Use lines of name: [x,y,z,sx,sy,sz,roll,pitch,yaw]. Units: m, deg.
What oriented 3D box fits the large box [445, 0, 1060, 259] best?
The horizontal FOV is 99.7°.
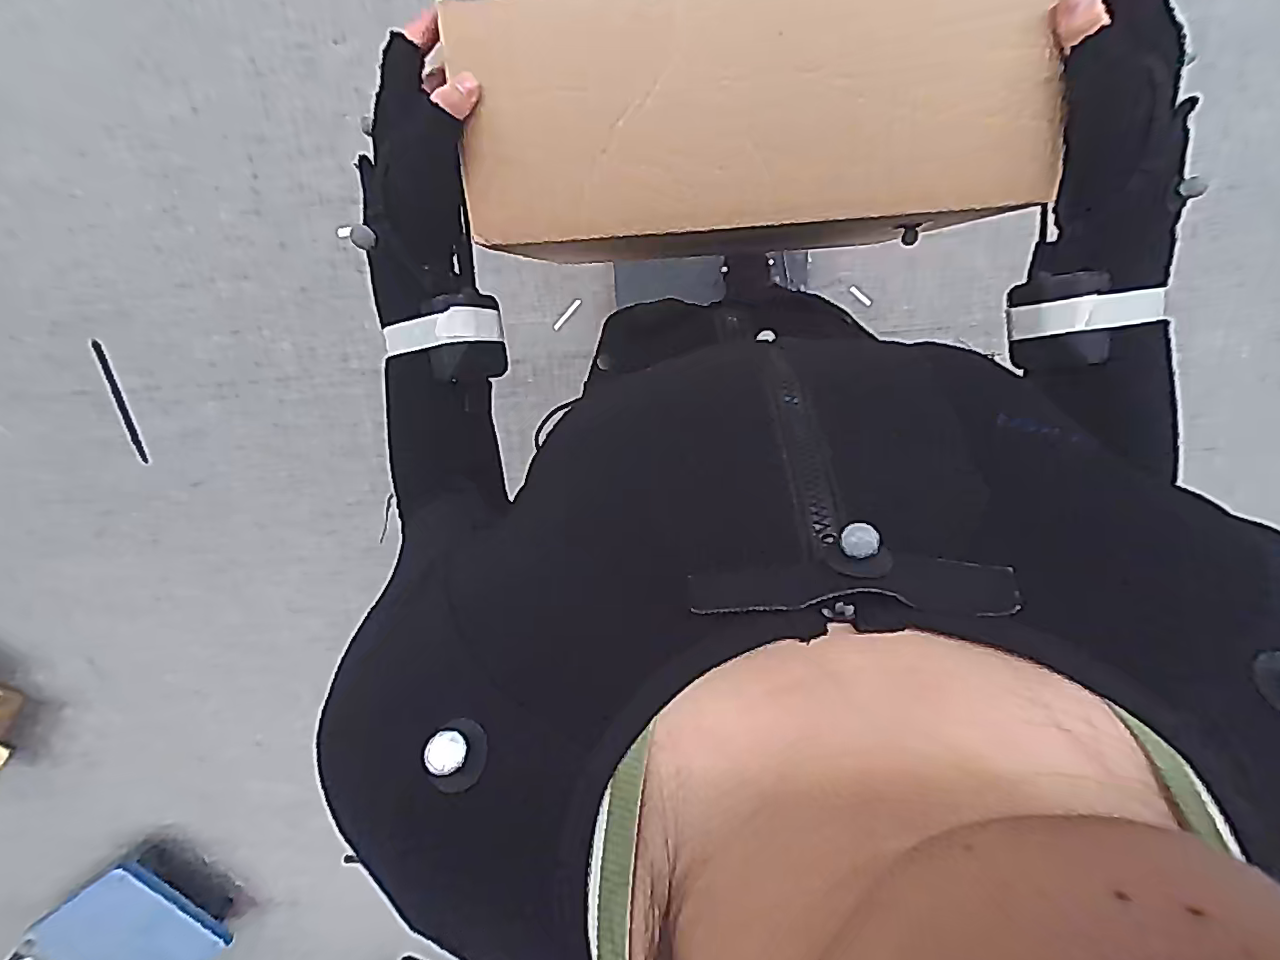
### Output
large box: [0.075,-0.381,0.482,0.408,0.320,0.320,-3,109,3]
